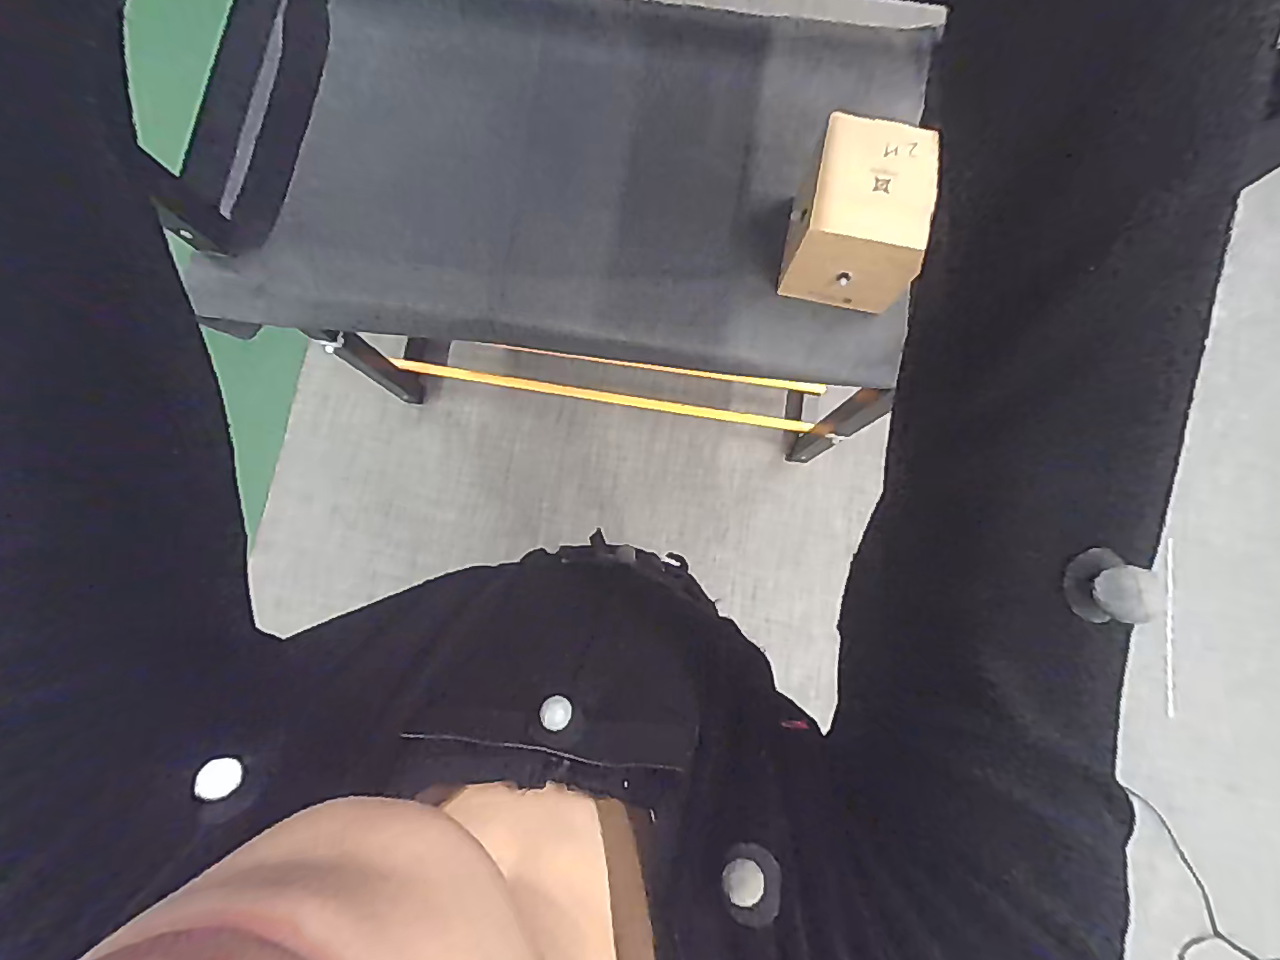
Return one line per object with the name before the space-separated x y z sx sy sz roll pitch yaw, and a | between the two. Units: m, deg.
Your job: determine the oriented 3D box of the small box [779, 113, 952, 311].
small box | 0.307 -0.367 0.770 0.168 0.176 0.179 12 80 2
